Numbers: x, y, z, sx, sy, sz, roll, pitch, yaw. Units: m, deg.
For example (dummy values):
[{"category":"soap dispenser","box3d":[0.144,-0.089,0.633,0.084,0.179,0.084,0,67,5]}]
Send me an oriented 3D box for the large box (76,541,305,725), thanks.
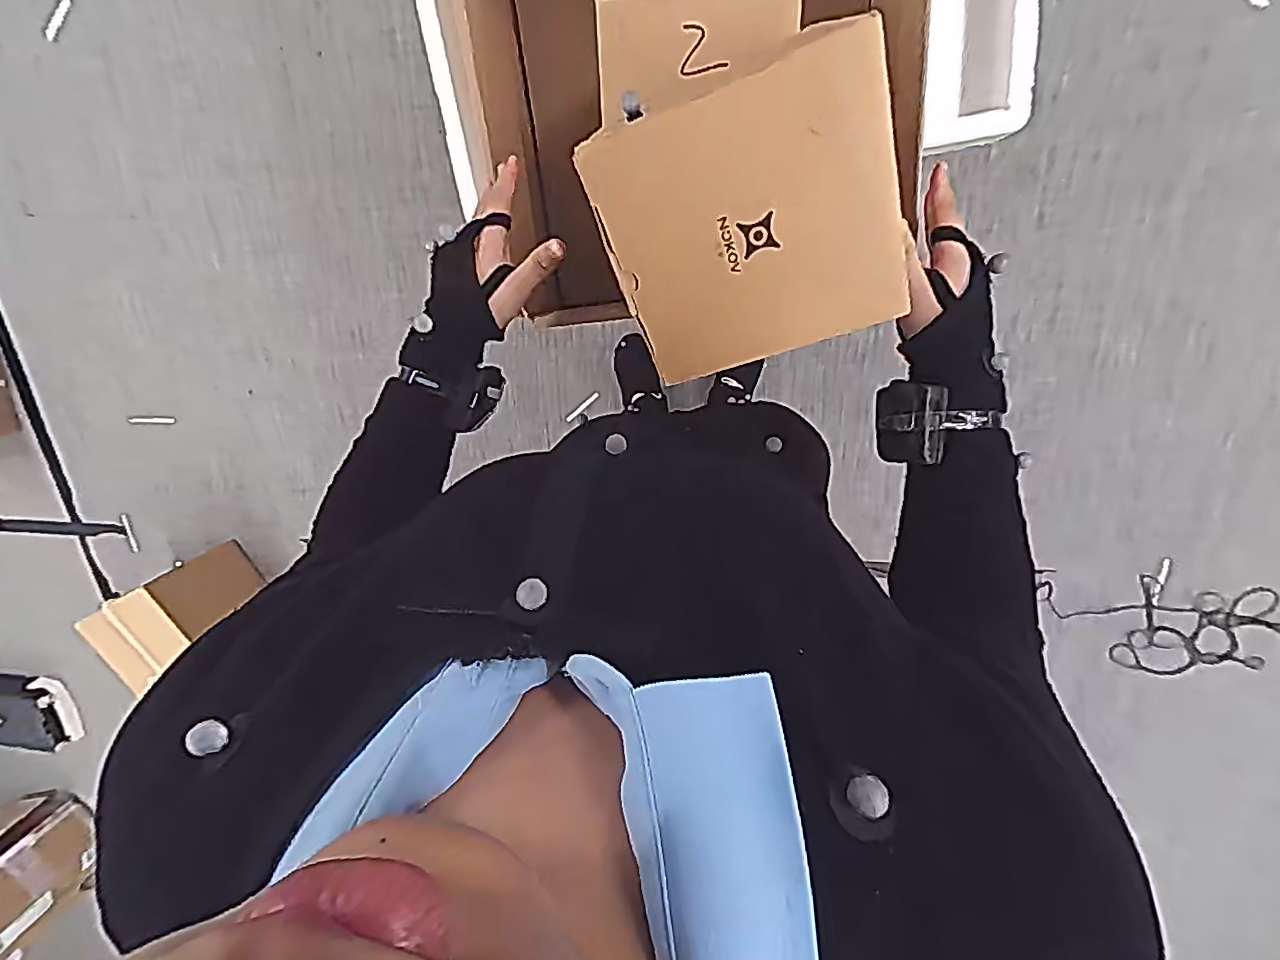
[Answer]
[{"category":"large box","box3d":[-1.381,0.471,1.701,0.320,0.320,0.408,-25,105,15]}]
